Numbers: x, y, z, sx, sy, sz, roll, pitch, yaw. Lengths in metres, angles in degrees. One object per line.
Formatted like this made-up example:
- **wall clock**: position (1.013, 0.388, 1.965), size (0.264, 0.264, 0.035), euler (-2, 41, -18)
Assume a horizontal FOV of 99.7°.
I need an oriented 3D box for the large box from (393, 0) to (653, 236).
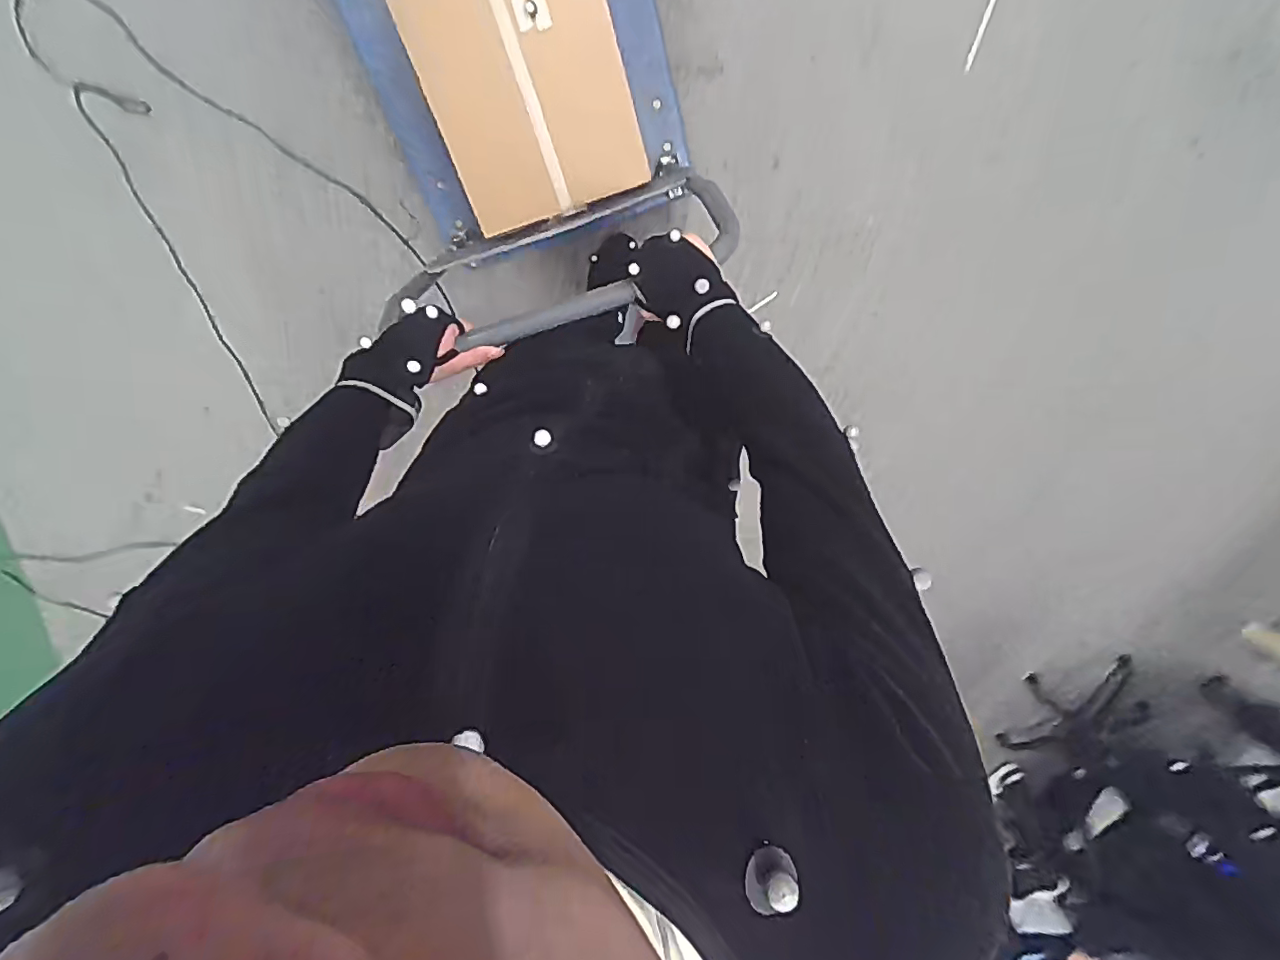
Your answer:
- **large box**: position (-0.182, -0.716, 0.994), size (0.320, 0.320, 0.408), euler (-16, 118, 7)
